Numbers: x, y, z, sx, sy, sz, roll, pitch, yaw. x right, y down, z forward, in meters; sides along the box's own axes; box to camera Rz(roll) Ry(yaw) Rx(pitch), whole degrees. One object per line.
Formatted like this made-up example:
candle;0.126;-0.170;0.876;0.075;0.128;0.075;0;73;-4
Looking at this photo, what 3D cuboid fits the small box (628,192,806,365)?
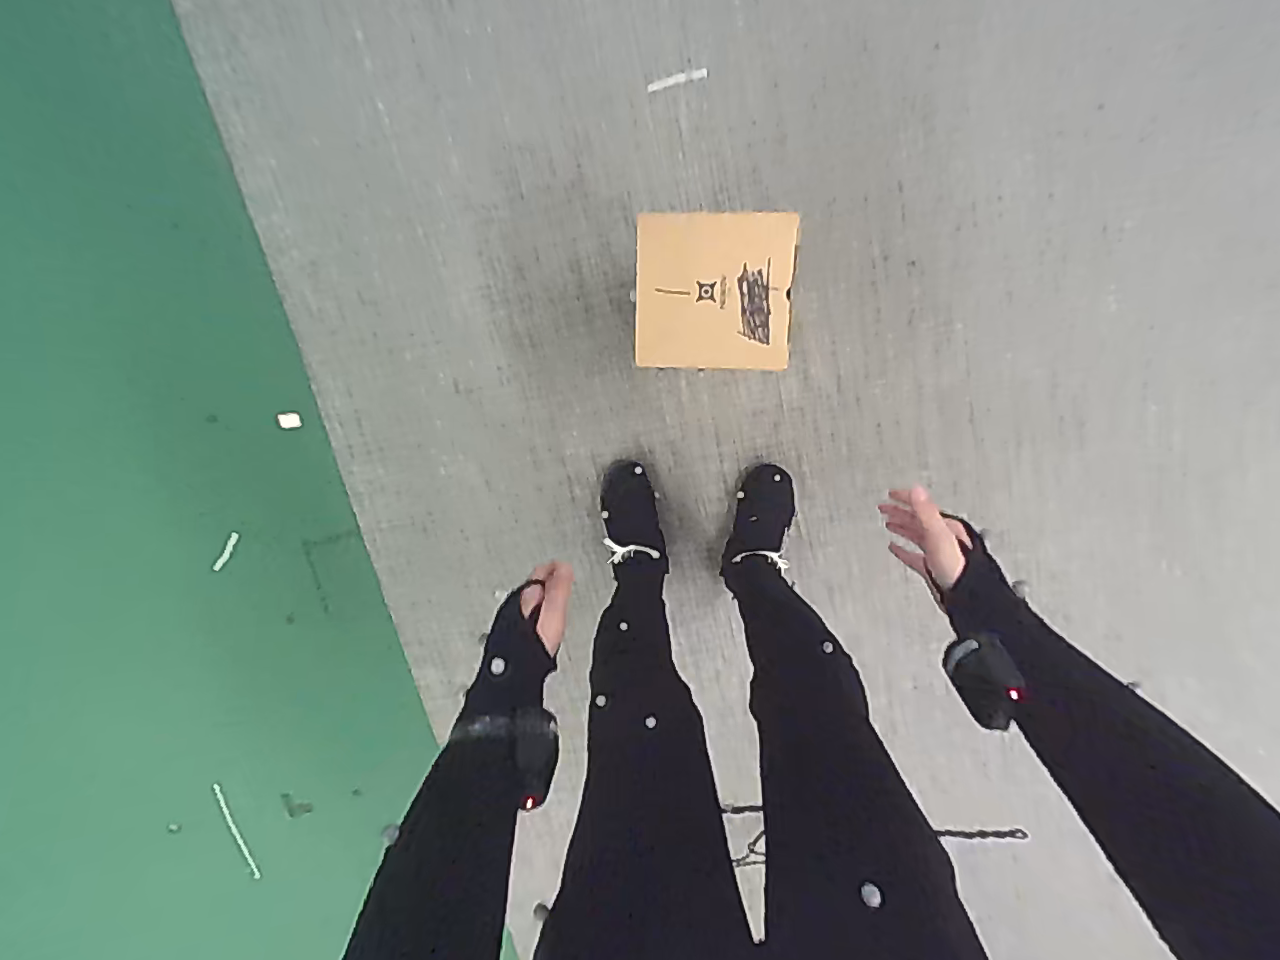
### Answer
small box;0.084;-0.231;0.649;0.179;0.176;0.168;5;105;4
